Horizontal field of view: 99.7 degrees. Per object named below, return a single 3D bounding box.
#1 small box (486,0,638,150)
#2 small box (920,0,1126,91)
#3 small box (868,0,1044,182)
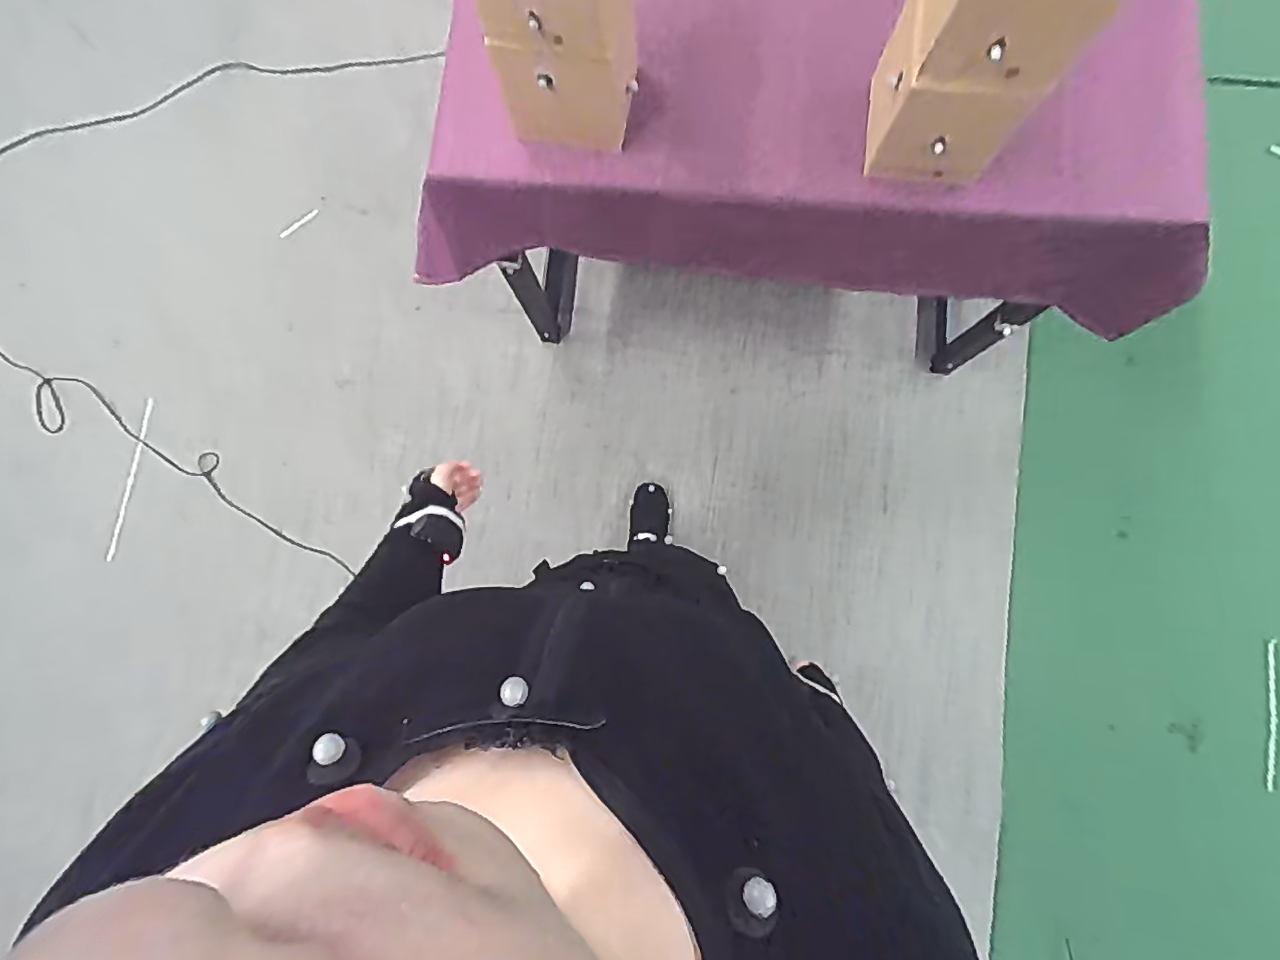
[{"bbox_3d":[-0.104,-0.626,0.802,0.179,0.176,0.168,10,83,3],"label":"small box"},{"bbox_3d":[0.438,-0.588,0.608,0.168,0.176,0.179,7,84,4],"label":"small box"},{"bbox_3d":[0.438,-0.559,0.769,0.168,0.176,0.179,7,82,3],"label":"small box"}]
